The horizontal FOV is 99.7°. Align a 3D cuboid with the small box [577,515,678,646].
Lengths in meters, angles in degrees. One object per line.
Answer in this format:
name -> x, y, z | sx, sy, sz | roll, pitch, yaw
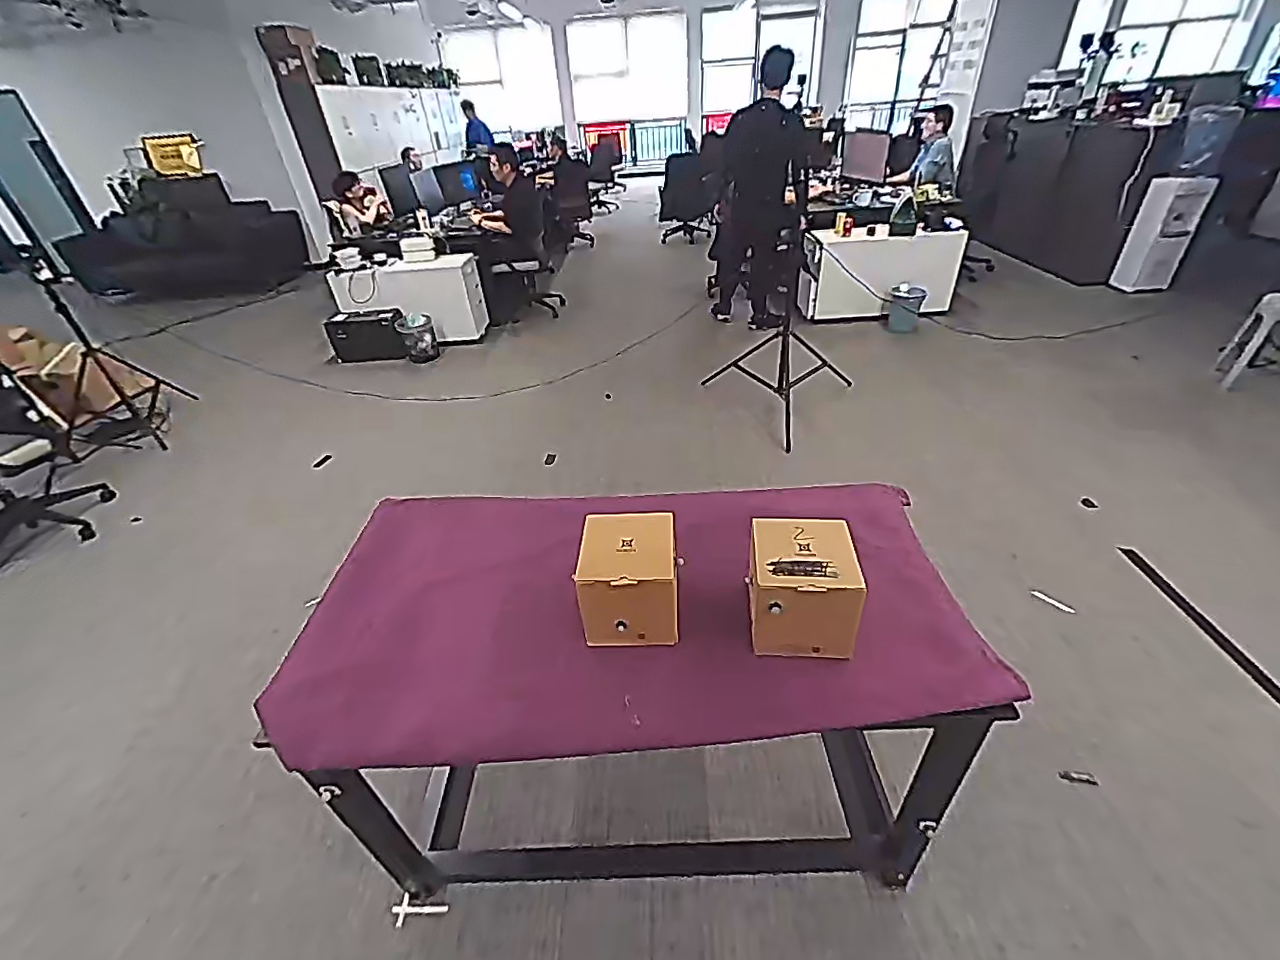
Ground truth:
small box -> -0.016, 0.183, 0.999 | 0.168, 0.176, 0.179 | -2, 35, 4
